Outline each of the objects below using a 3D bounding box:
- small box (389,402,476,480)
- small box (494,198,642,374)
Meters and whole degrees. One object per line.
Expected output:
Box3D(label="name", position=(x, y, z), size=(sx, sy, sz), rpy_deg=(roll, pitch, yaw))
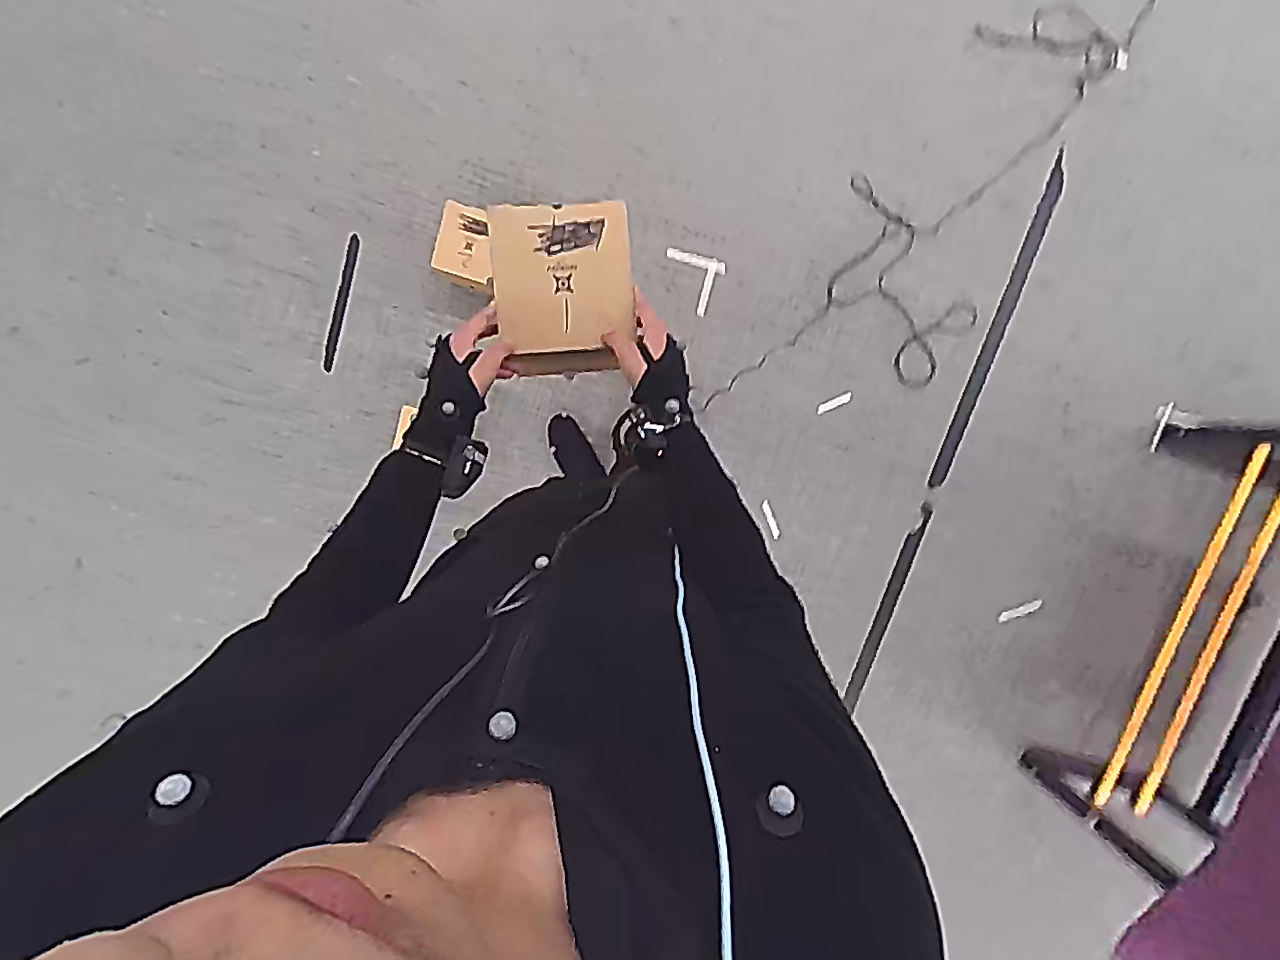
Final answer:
Box3D(label="small box", position=(-0.572, -0.114, 1.517), size=(0.168, 0.176, 0.179), rpy_deg=(16, 98, -4))
Box3D(label="small box", position=(-0.092, -0.245, 0.716), size=(0.168, 0.176, 0.179), rpy_deg=(-5, 93, -5))
